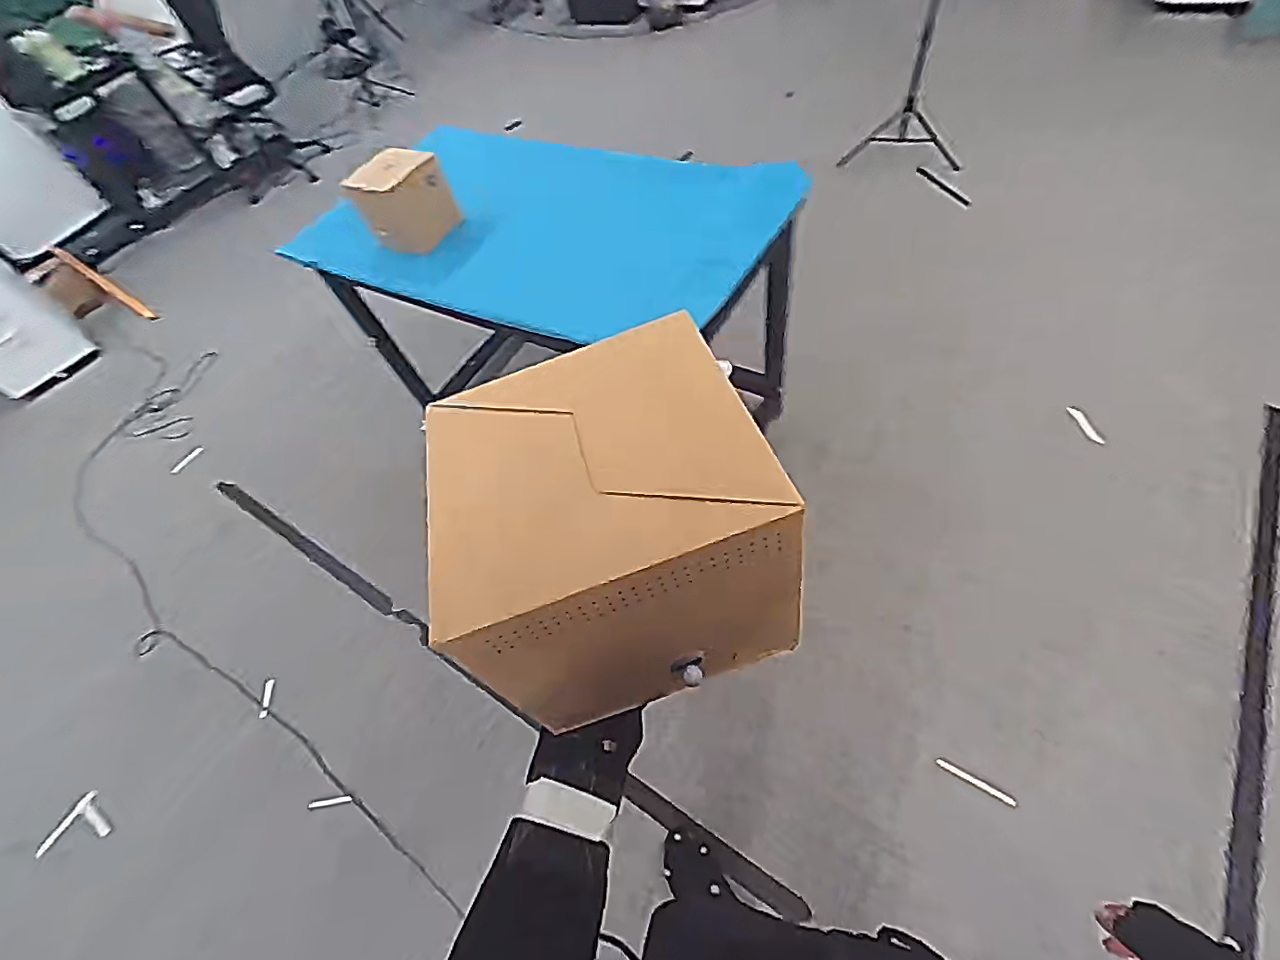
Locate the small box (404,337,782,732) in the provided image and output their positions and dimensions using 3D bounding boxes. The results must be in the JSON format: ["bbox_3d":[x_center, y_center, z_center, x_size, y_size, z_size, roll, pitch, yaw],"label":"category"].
[{"bbox_3d":[-0.025,0.034,0.350,0.179,0.176,0.168,-21,50,0],"label":"small box"}]

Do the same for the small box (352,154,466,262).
[{"bbox_3d":[-0.572,-0.689,1.371,0.168,0.176,0.179,24,68,27],"label":"small box"}]
